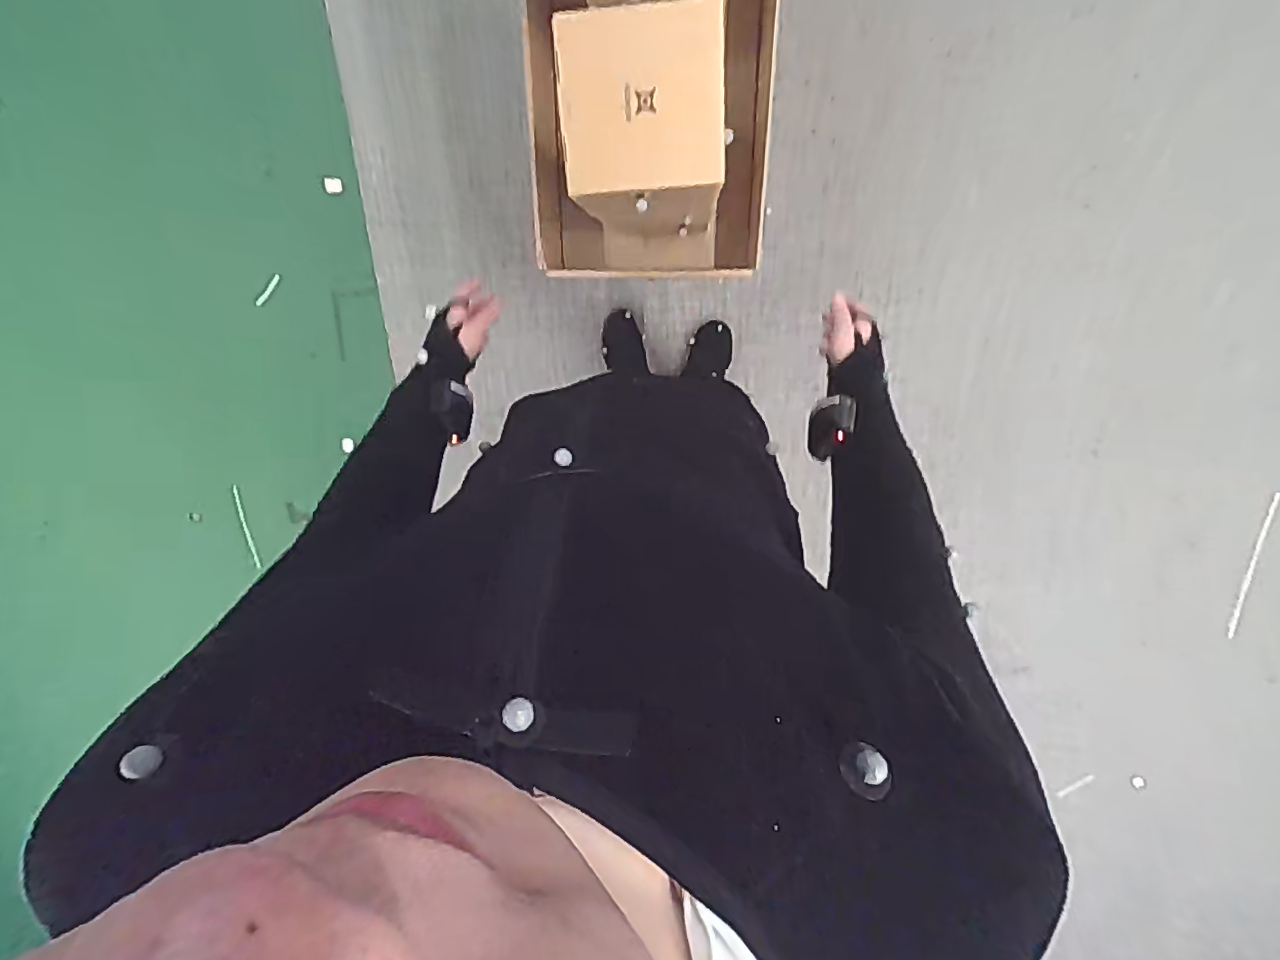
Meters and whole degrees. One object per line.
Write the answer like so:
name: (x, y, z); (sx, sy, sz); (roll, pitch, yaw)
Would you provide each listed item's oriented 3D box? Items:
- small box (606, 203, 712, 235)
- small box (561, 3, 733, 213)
small box: (0.035, -0.530, 0.948); (0.179, 0.176, 0.168); (0, 109, 4)
small box: (0.015, -0.421, 0.642); (0.179, 0.176, 0.168); (-2, 109, 5)
